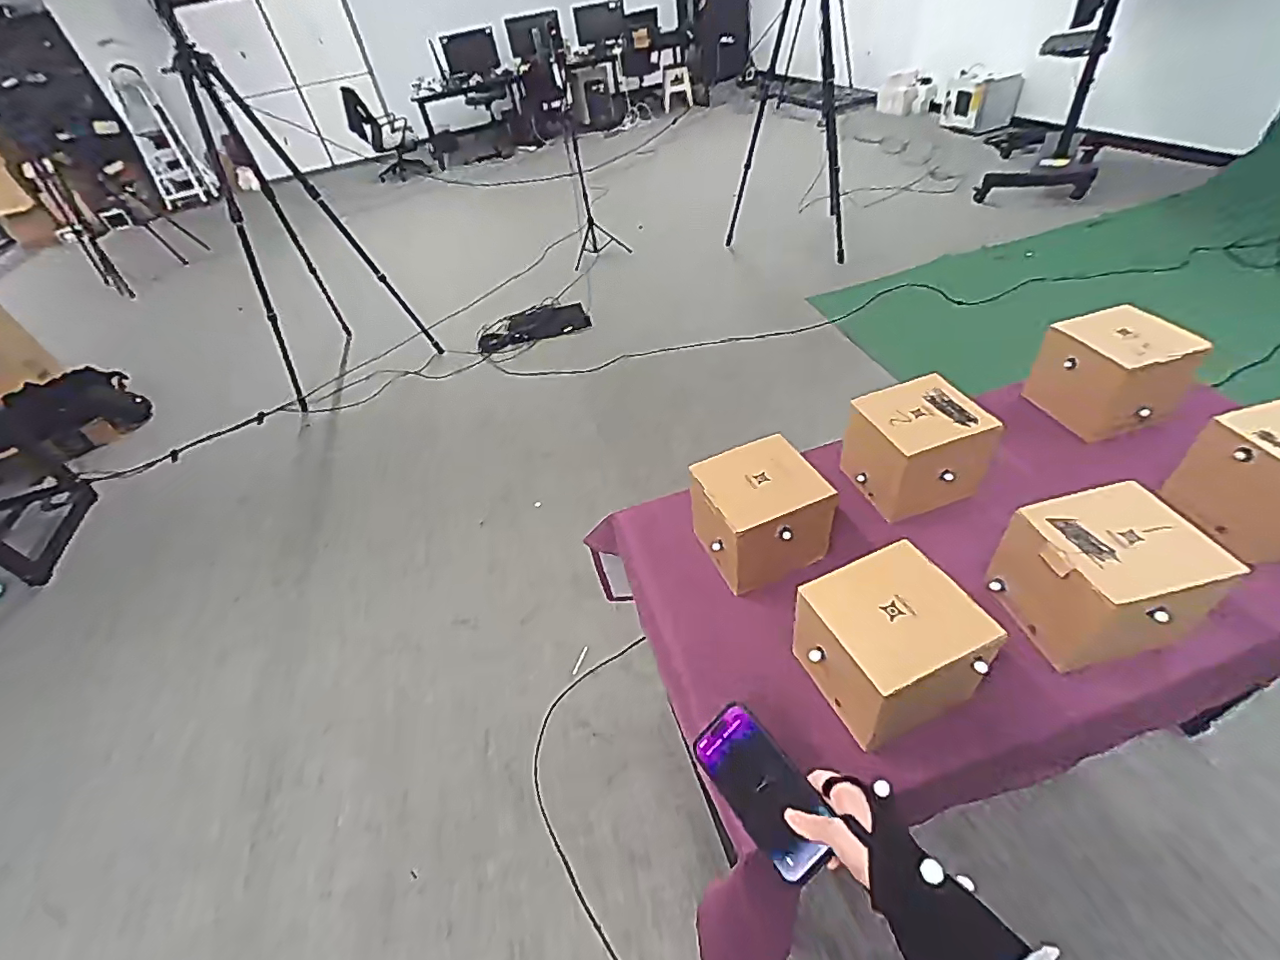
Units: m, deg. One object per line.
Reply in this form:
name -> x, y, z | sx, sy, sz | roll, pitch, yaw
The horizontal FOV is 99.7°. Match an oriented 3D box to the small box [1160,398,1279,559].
small box -> 0.968, -0.005, 0.818 | 0.179, 0.176, 0.168 | -13, 43, -2

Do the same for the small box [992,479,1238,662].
small box -> 0.628, 0.128, 0.751 | 0.179, 0.176, 0.168 | -13, 43, -3

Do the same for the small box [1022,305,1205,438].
small box -> 0.892, -0.209, 1.044 | 0.168, 0.176, 0.179 | -16, 44, -4

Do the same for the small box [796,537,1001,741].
small box -> 0.328, 0.215, 0.725 | 0.179, 0.176, 0.168 | -21, 44, -12
